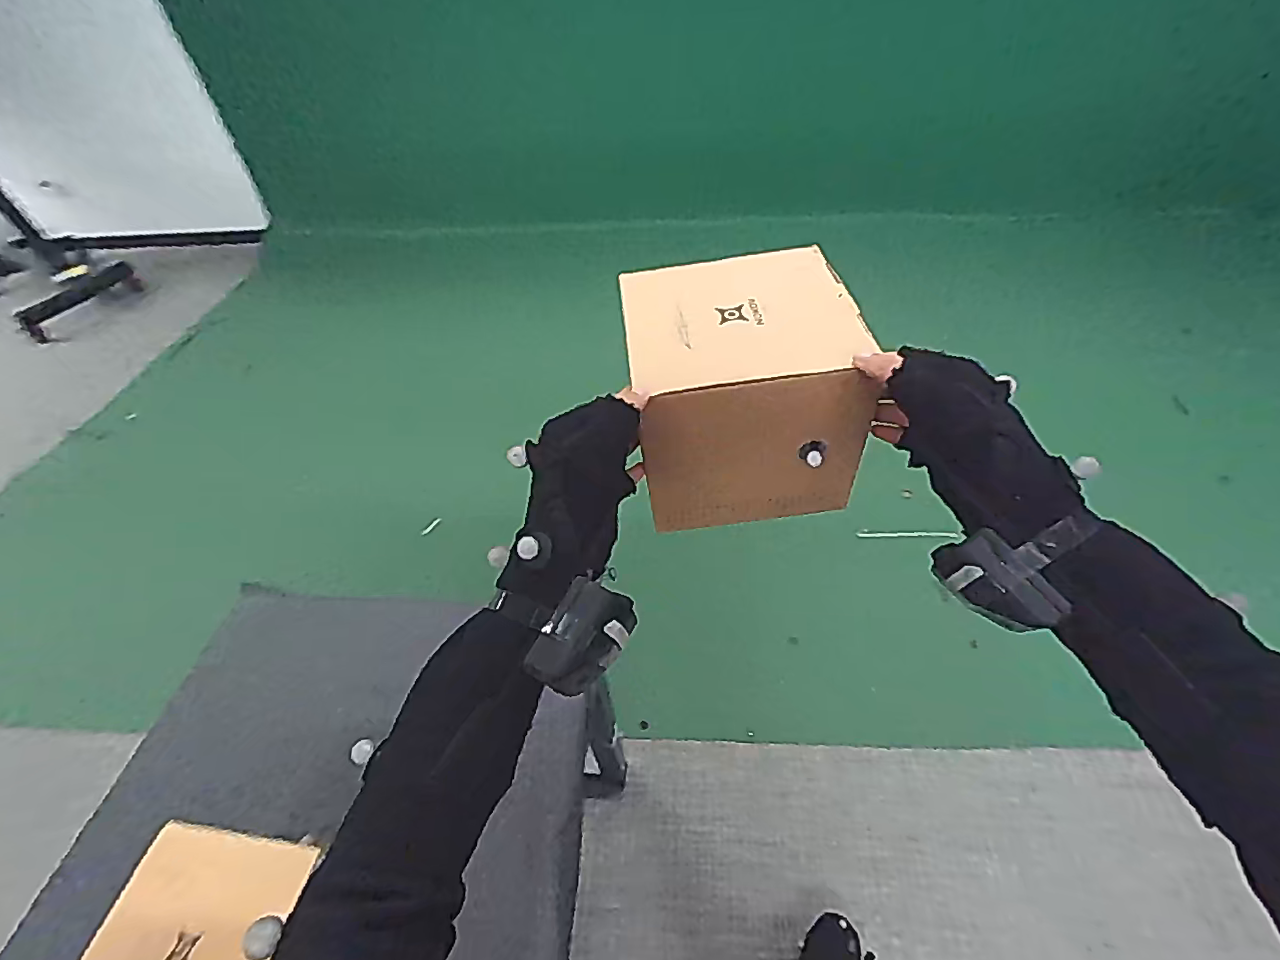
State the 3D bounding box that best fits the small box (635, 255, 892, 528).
[{"bbox_3d":[0.094,-0.075,0.490,0.179,0.176,0.168,-7,49,2],"label":"small box"}]
